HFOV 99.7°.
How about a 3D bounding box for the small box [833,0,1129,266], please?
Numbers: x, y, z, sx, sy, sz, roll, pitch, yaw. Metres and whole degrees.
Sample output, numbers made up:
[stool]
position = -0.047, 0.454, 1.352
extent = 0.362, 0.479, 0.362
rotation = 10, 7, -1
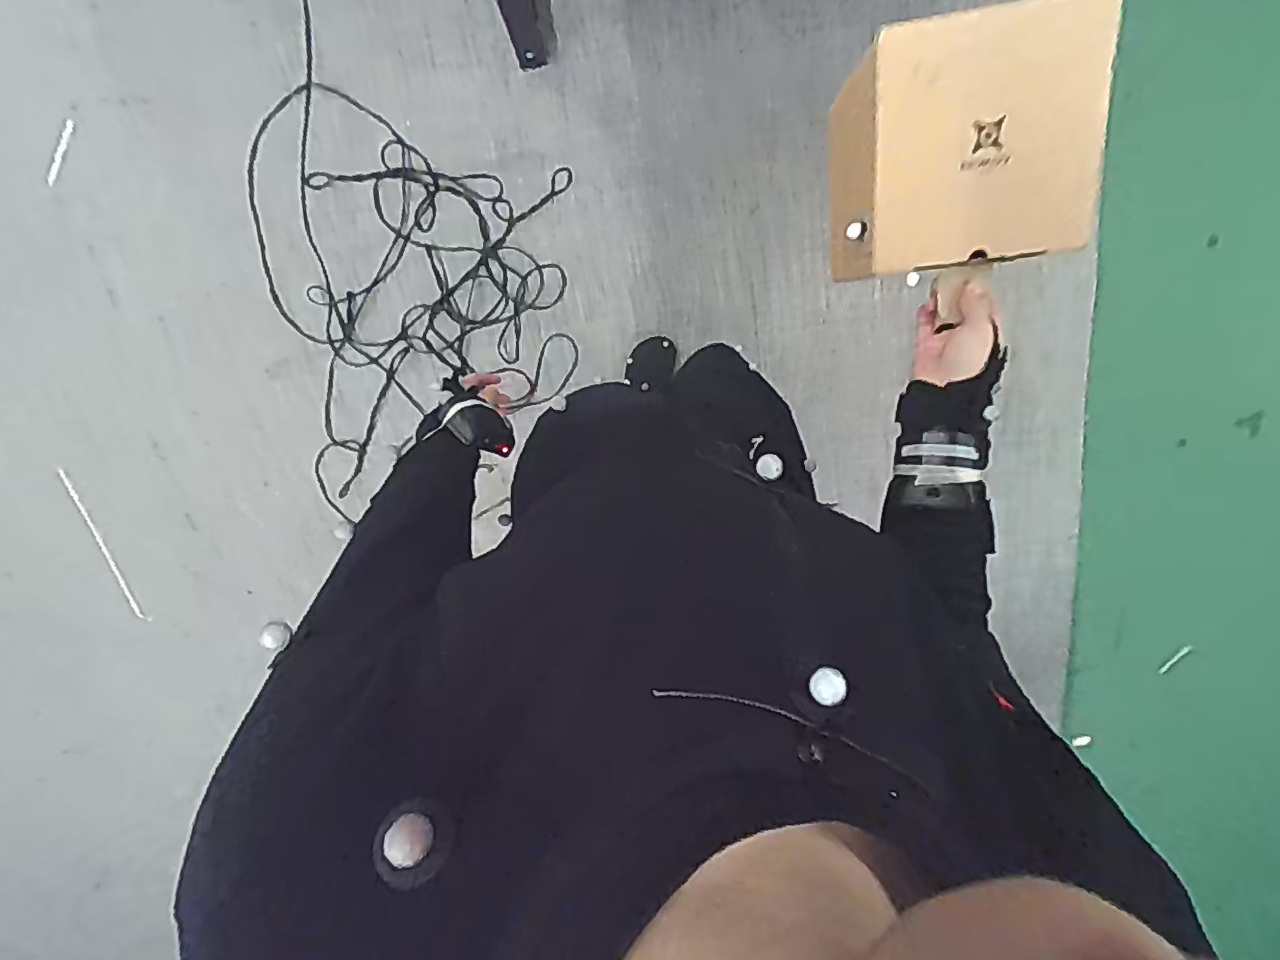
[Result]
[small box]
position = 0.278, -0.297, 0.487
extent = 0.168, 0.176, 0.179
rotation = -5, 110, 7
